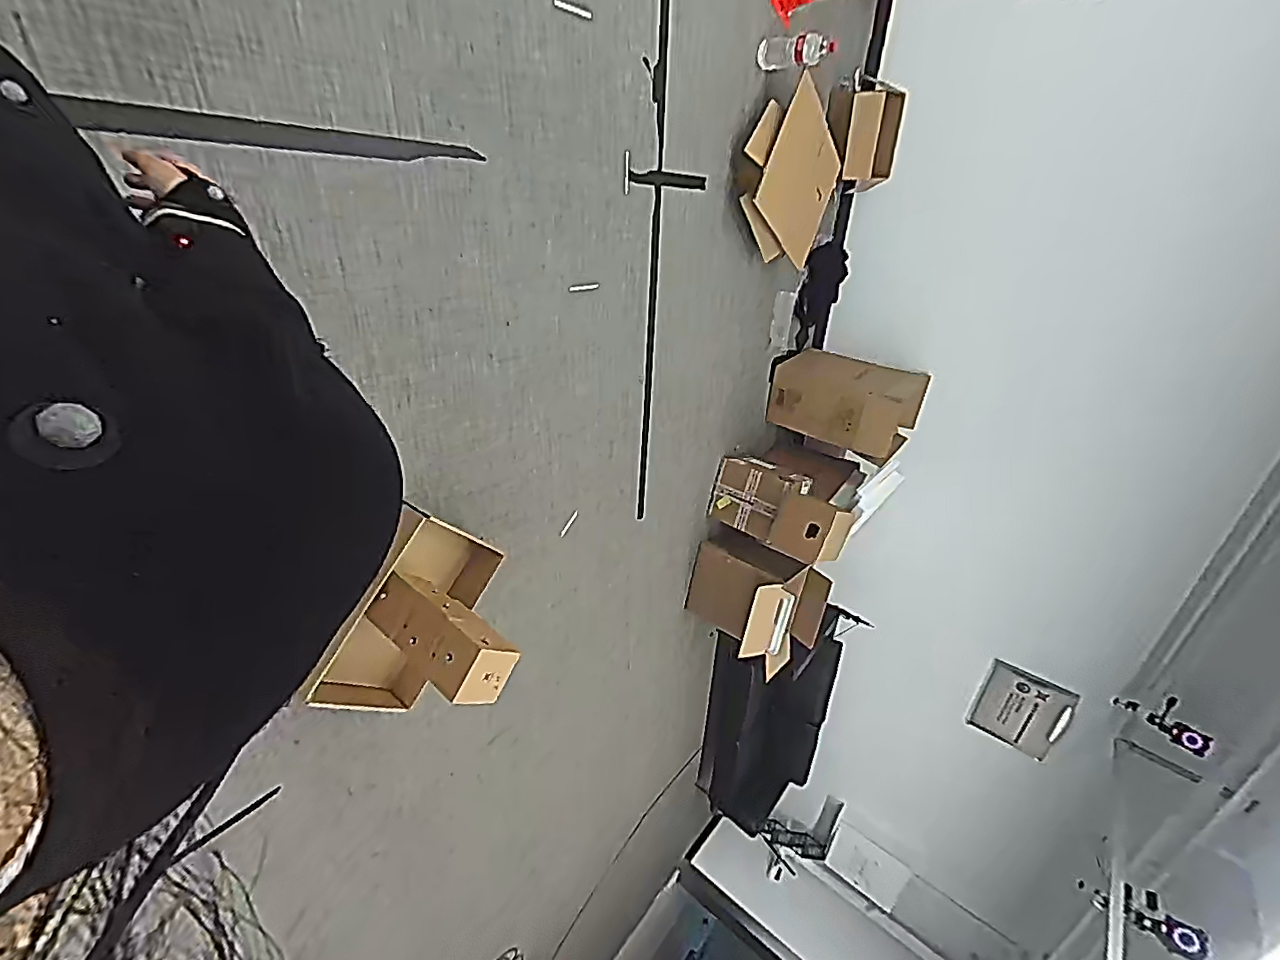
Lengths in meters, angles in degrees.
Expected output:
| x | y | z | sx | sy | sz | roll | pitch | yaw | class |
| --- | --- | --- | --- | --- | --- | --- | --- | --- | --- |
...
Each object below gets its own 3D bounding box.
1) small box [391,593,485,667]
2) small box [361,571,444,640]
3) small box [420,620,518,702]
| x | y | z | sx | sy | sz | roll | pitch | yaw | class |
| --- | --- | --- | --- | --- | --- | --- | --- | --- | --- |
| -0.623 | 0.463 | 1.662 | 0.168 | 0.176 | 0.179 | -61 | 148 | -6 | small box |
| -0.752 | 0.413 | 1.747 | 0.168 | 0.176 | 0.179 | -60 | 146 | -10 | small box |
| -0.499 | 0.524 | 1.571 | 0.168 | 0.176 | 0.179 | -61 | 147 | -5 | small box |
